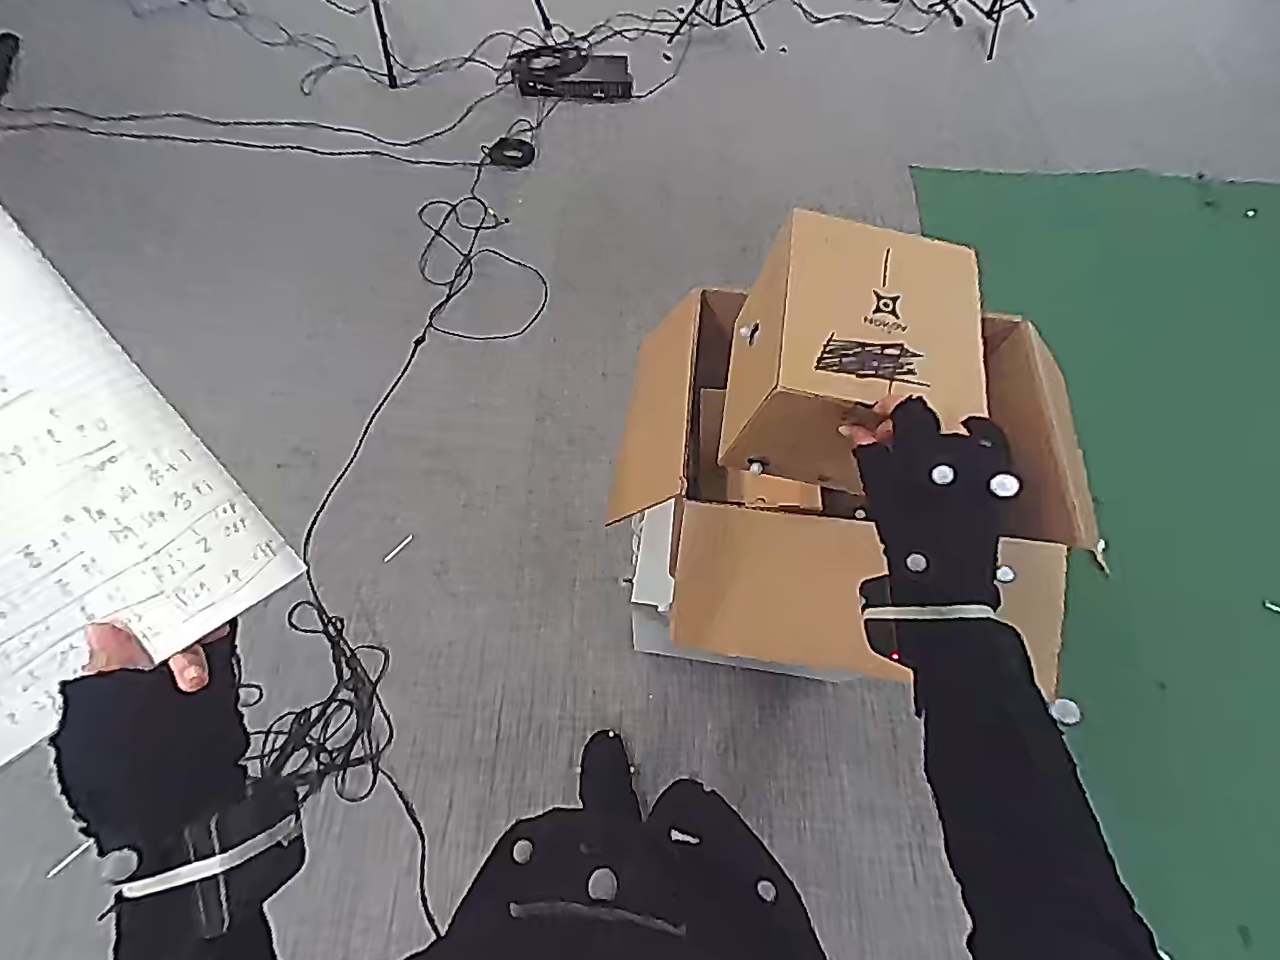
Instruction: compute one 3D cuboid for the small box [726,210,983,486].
[{"bbox_3d":[0.186,-0.108,0.510,0.168,0.176,0.179,11,69,-4],"label":"small box"}]
